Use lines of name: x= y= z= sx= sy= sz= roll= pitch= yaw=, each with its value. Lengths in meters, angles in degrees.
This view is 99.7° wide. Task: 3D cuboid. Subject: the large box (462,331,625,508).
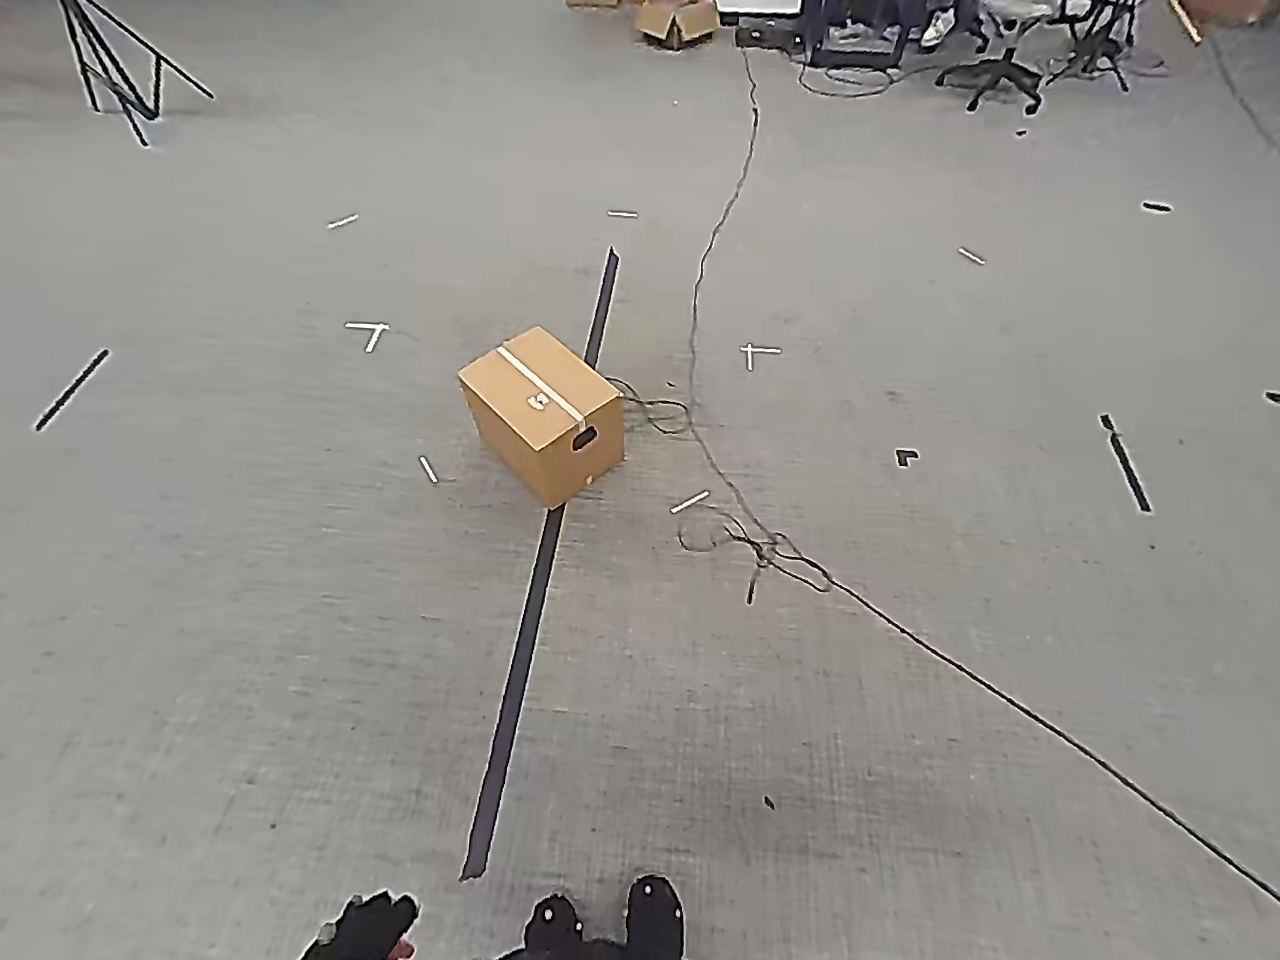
large box: x=-0.294 y=-0.193 z=1.717 sx=0.320 sy=0.320 sz=0.408 roll=-38 pitch=65 yaw=-23
